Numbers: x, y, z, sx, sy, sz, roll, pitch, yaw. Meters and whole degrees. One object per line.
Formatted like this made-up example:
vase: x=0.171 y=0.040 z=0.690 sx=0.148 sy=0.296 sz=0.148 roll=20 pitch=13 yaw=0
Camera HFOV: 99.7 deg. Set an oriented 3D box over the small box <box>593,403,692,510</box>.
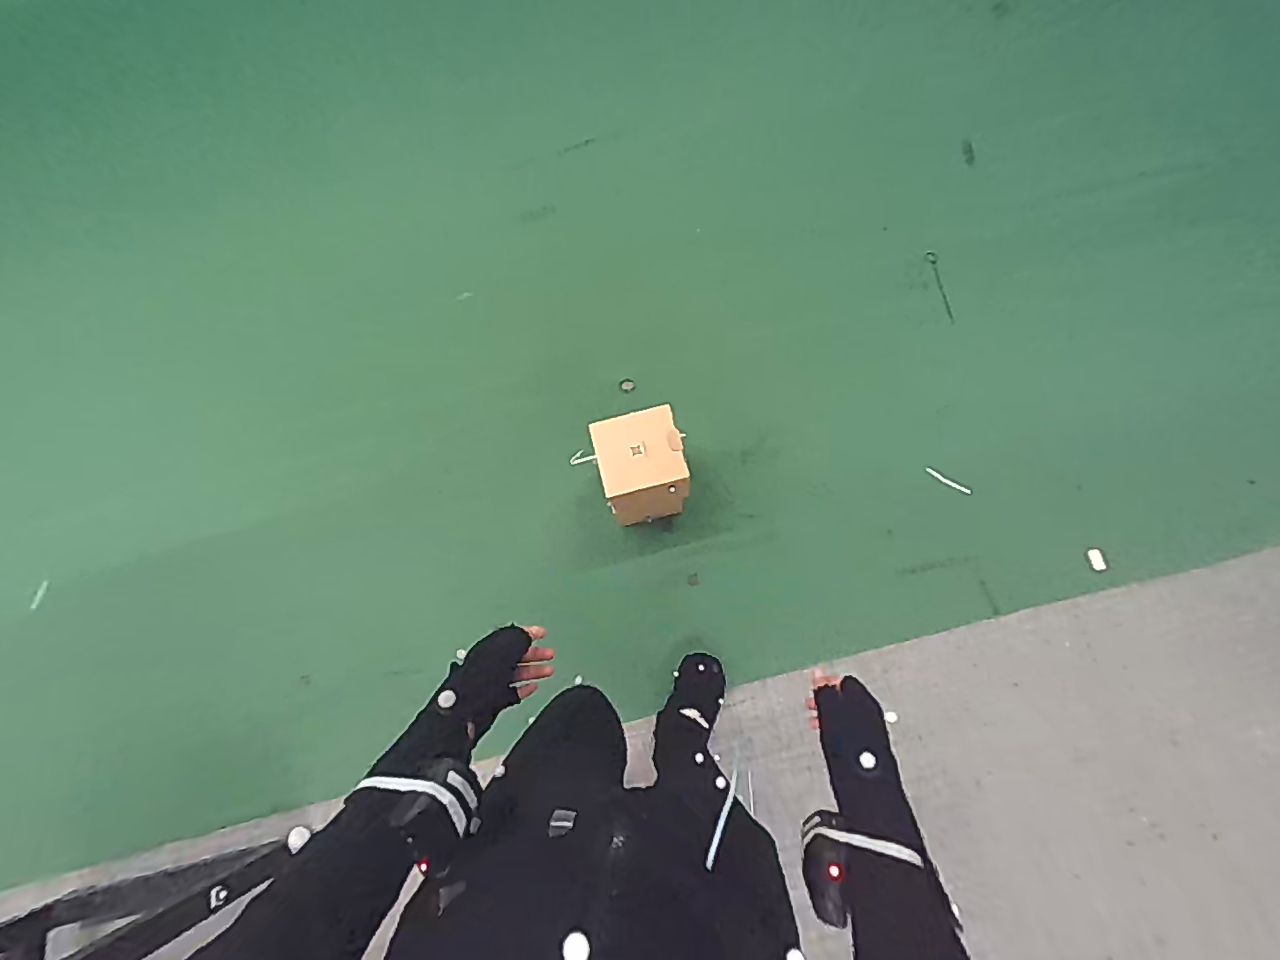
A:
small box: x=0.009 y=-0.043 z=1.177 sx=0.179 sy=0.176 sz=0.168 roll=-15 pitch=75 yaw=-1
